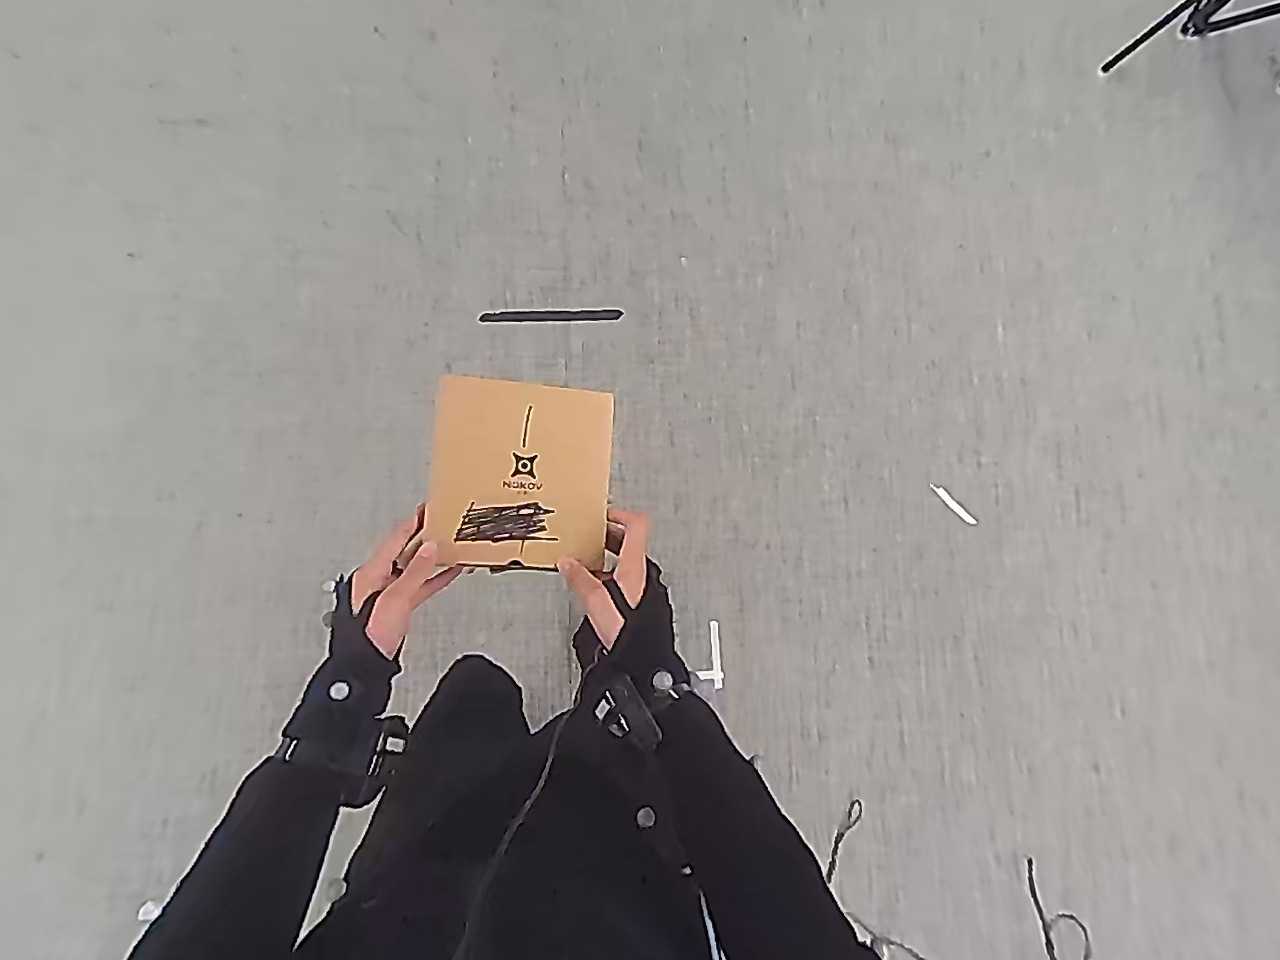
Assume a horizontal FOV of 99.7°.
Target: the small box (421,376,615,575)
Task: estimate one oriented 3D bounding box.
[{"bbox_3d":[-0.126,0.005,0.581,0.168,0.176,0.179,5,82,-13],"label":"small box"}]
